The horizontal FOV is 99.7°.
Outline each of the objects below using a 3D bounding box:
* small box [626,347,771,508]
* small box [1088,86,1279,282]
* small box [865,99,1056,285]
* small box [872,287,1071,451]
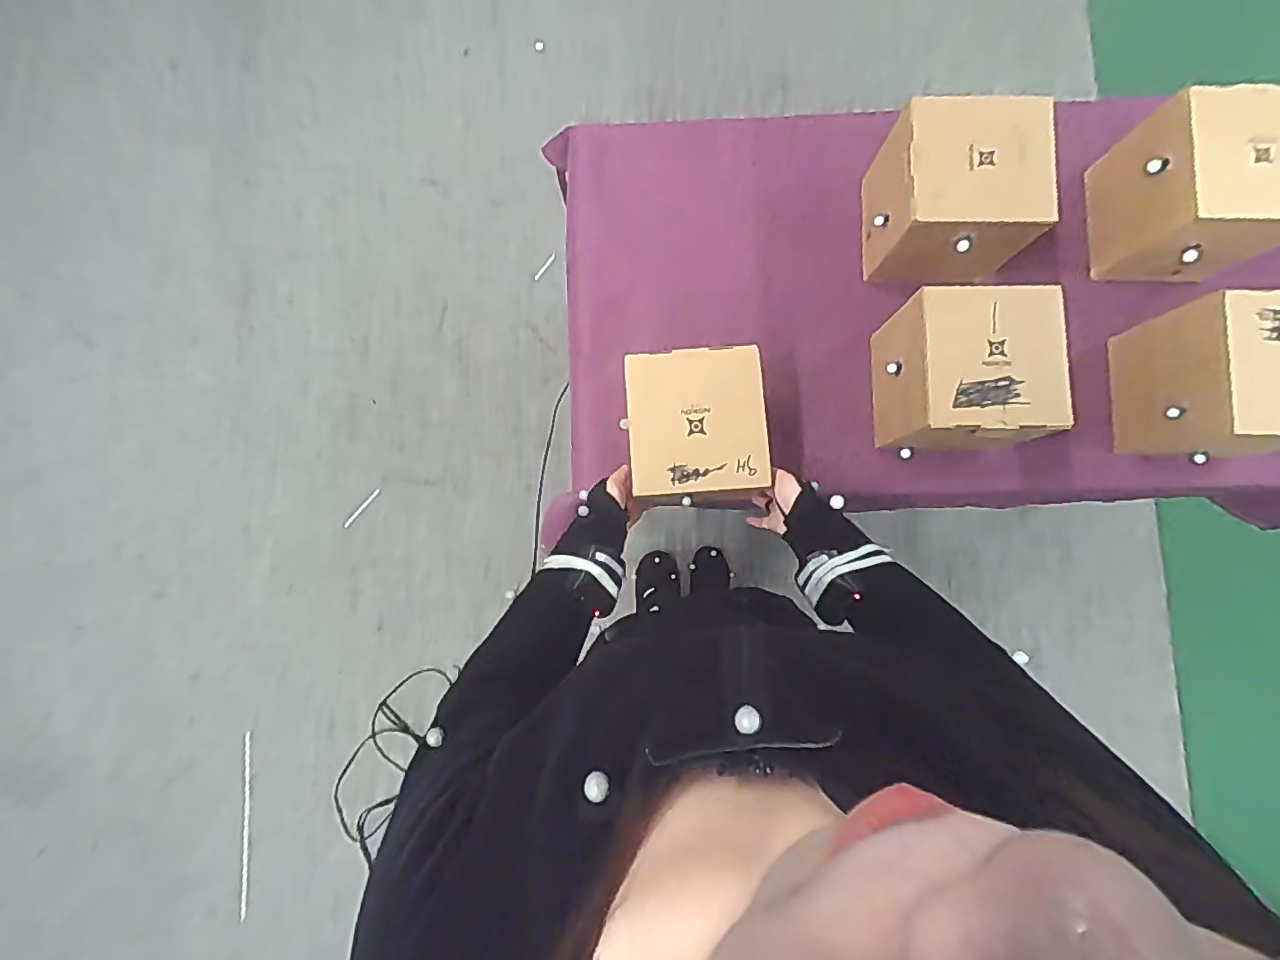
[{"bbox_3d":[0.070,-0.060,0.722,0.168,0.176,0.179,-4,82,2],"label":"small box"},{"bbox_3d":[0.750,-0.383,0.727,0.168,0.176,0.179,2,83,3],"label":"small box"},{"bbox_3d":[0.423,-0.383,0.744,0.179,0.176,0.168,2,85,2],"label":"small box"},{"bbox_3d":[0.420,-0.135,0.714,0.168,0.176,0.179,0,83,3],"label":"small box"}]
